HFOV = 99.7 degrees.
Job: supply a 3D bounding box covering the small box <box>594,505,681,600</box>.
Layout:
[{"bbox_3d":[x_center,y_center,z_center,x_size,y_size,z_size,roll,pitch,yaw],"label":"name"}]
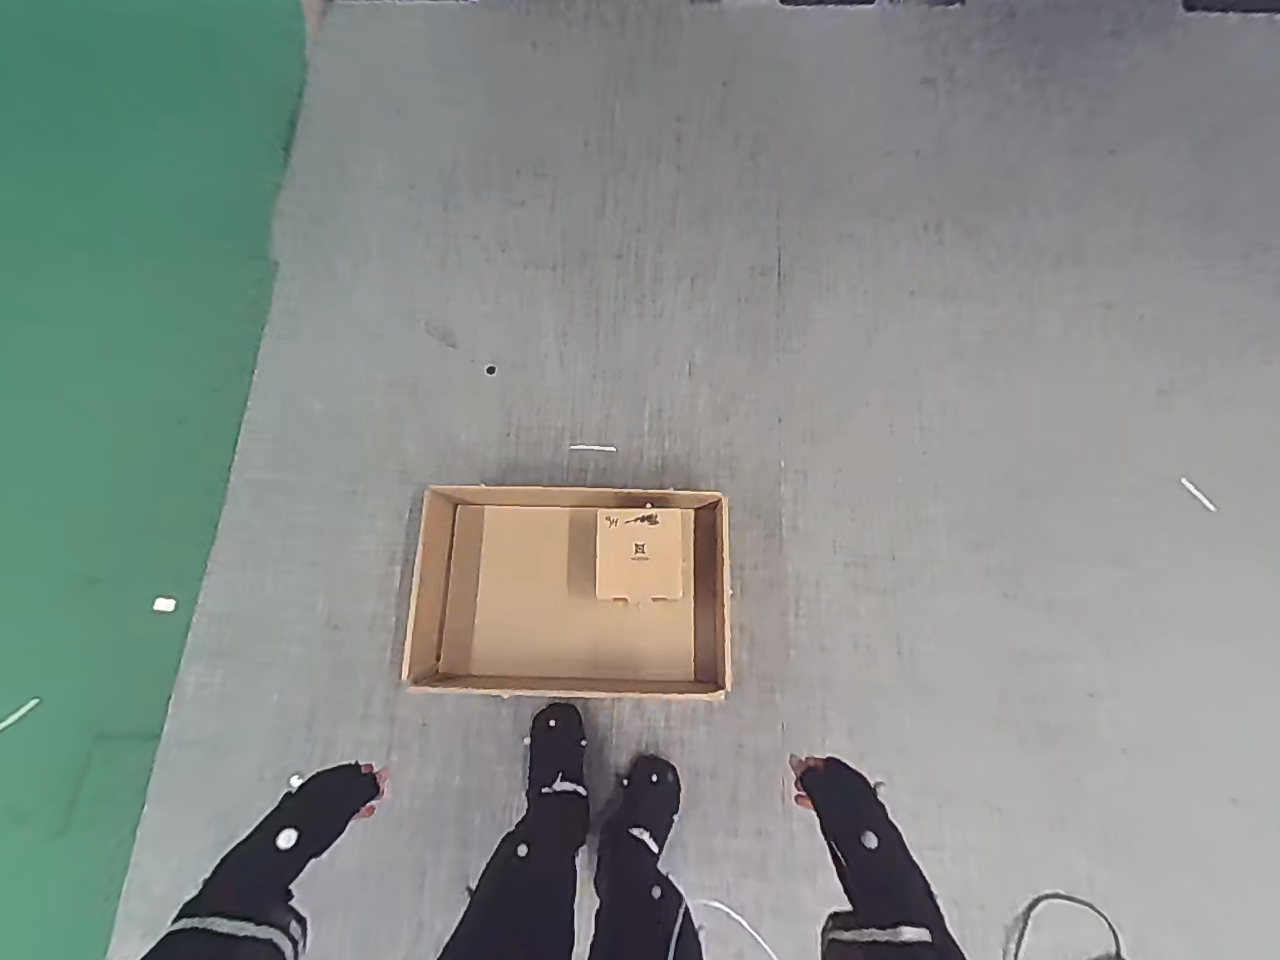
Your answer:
[{"bbox_3d":[-0.002,0.155,1.112,0.168,0.176,0.179,-3,76,2],"label":"small box"}]
